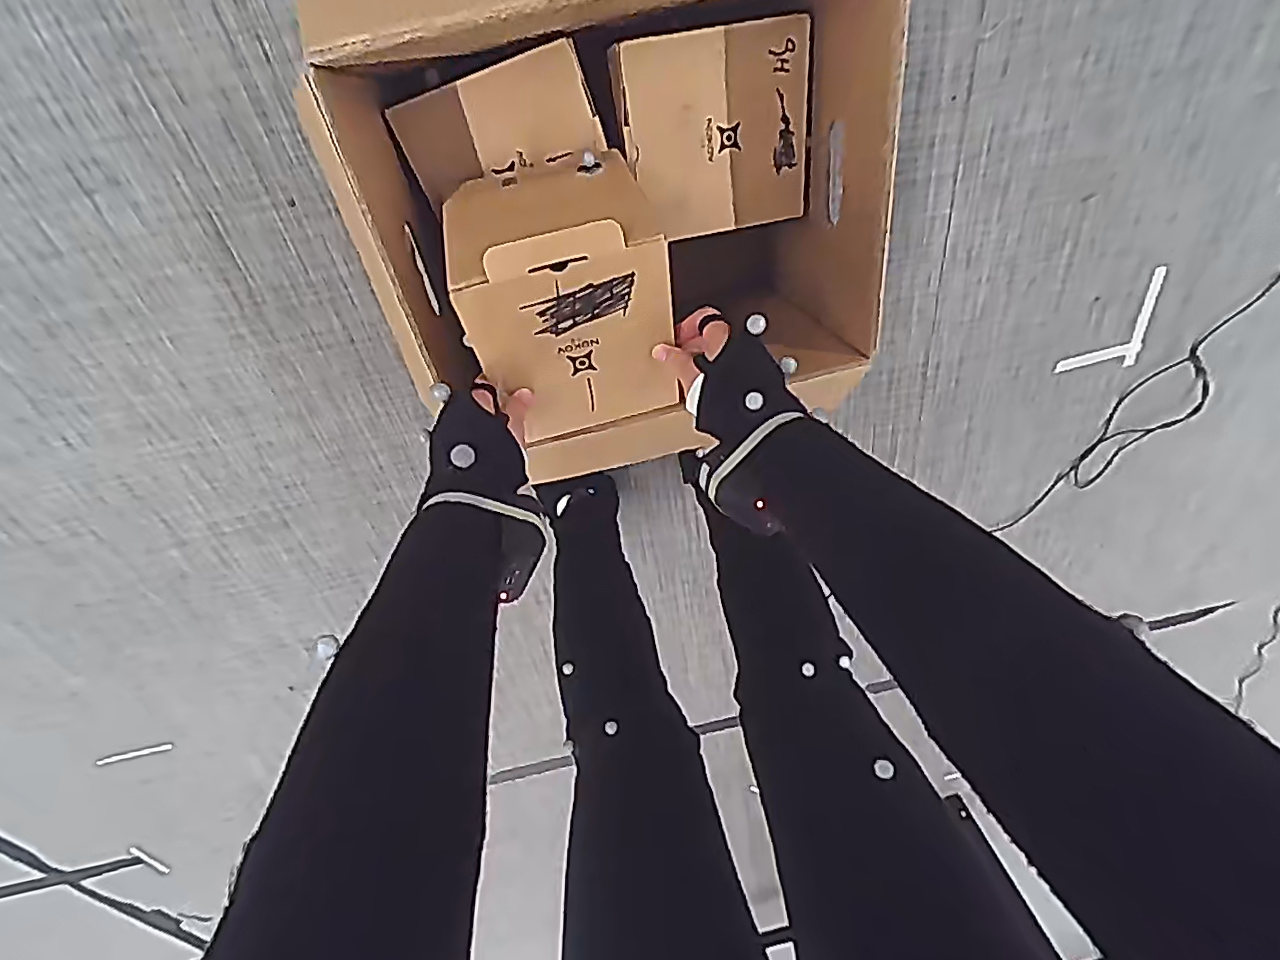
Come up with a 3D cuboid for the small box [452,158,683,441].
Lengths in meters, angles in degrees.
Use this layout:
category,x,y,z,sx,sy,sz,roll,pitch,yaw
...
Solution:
category,x,y,z,sx,sy,sz,roll,pitch,yaw
small box,-0.064,-0.170,0.499,0.168,0.176,0.179,-15,144,-4
